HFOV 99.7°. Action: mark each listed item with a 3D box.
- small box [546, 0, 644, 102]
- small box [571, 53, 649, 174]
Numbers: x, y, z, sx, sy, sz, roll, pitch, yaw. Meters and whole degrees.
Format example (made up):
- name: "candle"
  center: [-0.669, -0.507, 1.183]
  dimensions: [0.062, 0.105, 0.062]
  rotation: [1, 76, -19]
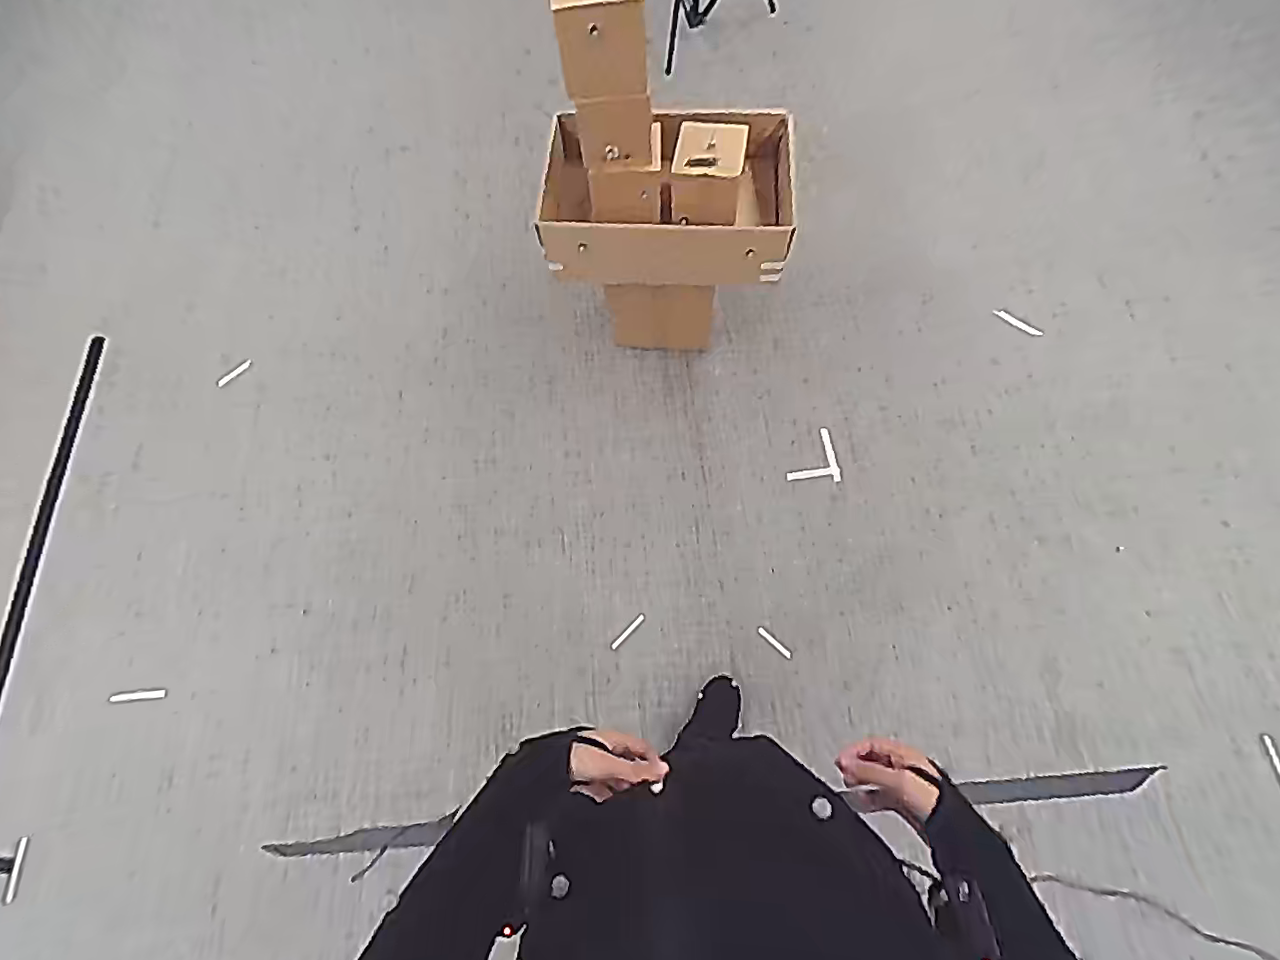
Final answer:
- name: "small box"
  center: [-0.087, -0.898, 1.088]
  dimensions: [0.179, 0.176, 0.168]
  rotation: [-5, 69, 1]
- name: "small box"
  center: [-0.067, -0.842, 1.240]
  dimensions: [0.168, 0.176, 0.179]
  rotation: [-6, 69, 1]
